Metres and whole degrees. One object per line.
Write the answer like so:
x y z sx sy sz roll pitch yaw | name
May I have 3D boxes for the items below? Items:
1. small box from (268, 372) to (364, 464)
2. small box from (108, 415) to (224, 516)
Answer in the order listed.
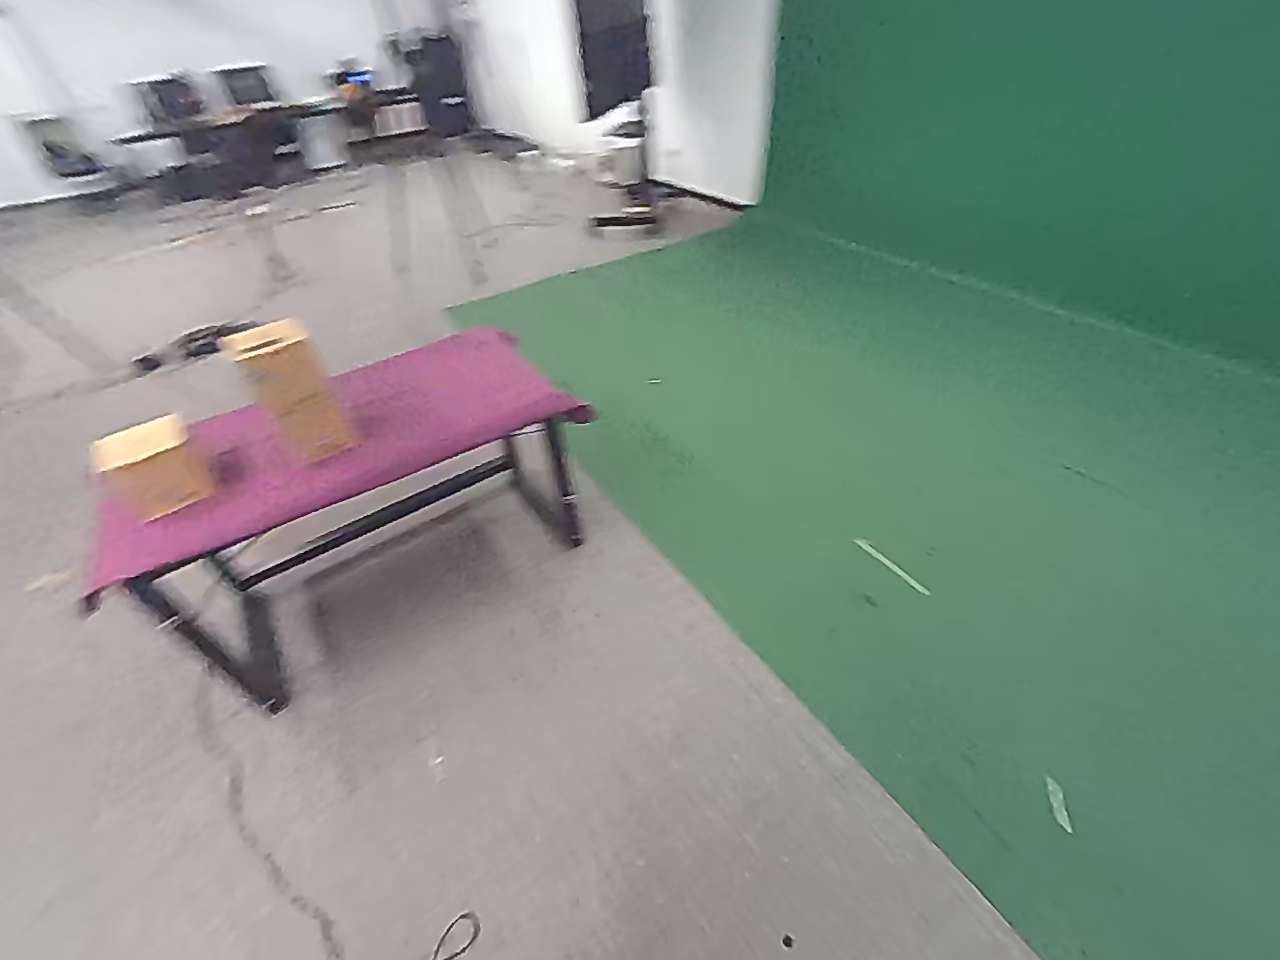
-0.910 -0.174 1.524 0.168 0.176 0.179 -28 47 -23 | small box
-1.225 -0.037 1.402 0.168 0.176 0.179 -30 48 -26 | small box
